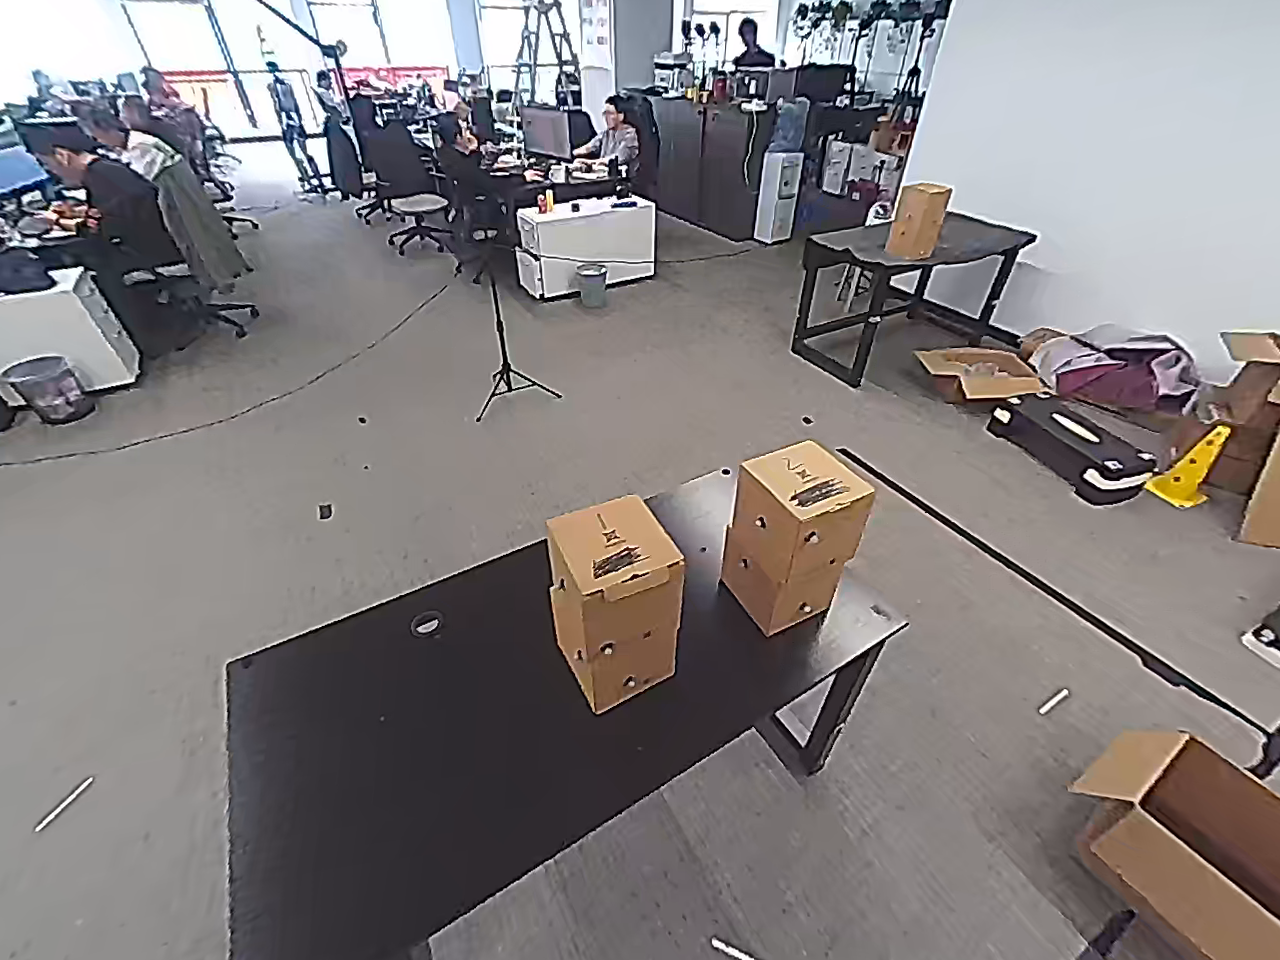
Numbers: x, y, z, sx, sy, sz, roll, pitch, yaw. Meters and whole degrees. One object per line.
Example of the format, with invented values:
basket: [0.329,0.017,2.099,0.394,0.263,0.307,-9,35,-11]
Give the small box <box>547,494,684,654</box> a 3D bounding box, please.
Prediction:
small box: [-0.041,0.156,0.879,0.168,0.176,0.179,-16,42,-19]

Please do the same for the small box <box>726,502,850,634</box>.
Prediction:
small box: [0.290,0.178,1.106,0.168,0.176,0.179,-18,43,-19]

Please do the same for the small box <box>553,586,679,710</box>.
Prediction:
small box: [-0.047,0.278,0.989,0.168,0.176,0.179,-20,44,-23]
